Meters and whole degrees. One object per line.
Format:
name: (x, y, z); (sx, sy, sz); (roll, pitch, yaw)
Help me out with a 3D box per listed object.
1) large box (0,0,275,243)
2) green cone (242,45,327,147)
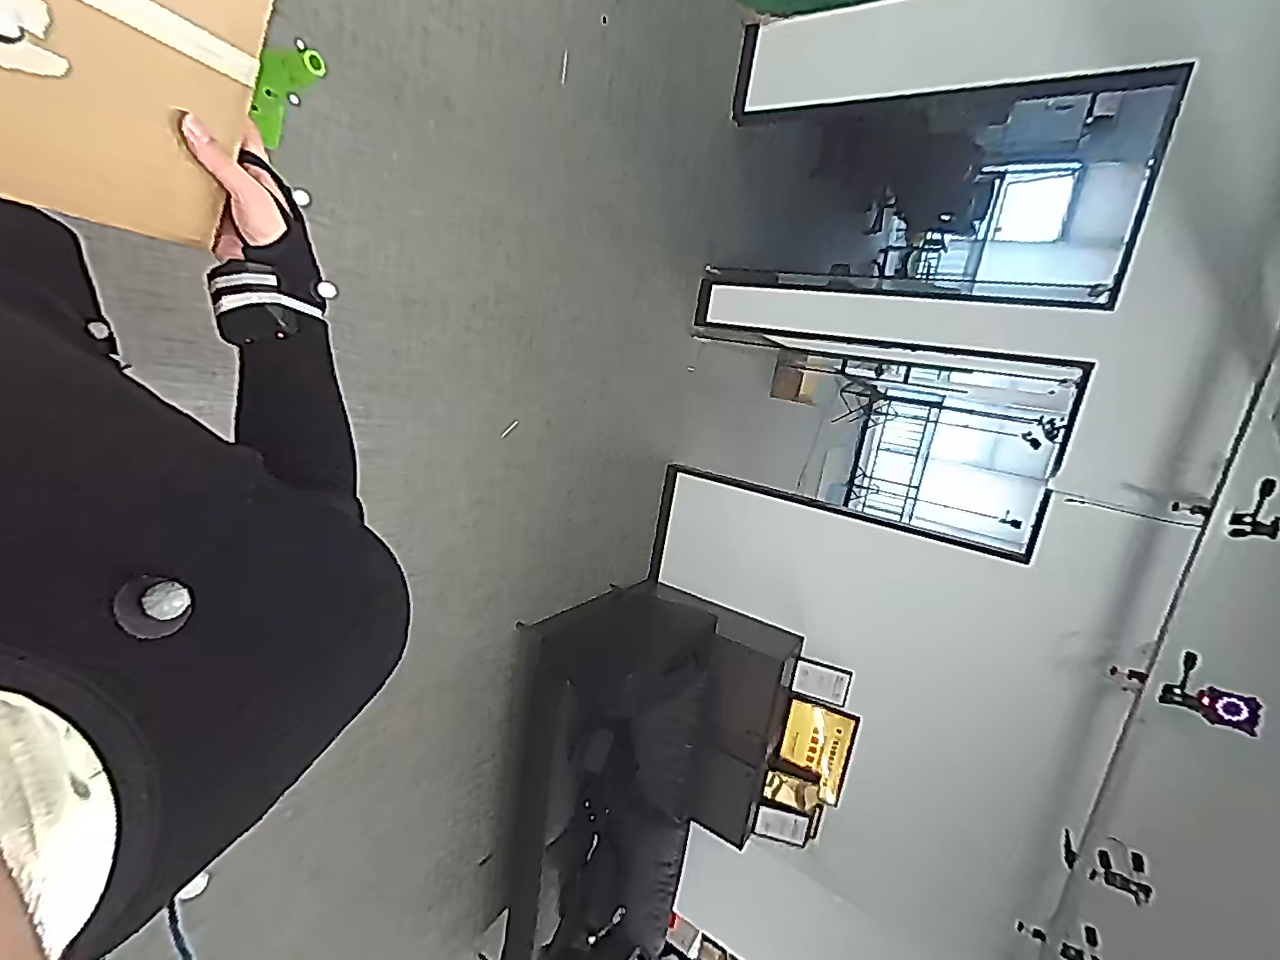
large box: (-0.524, -0.410, 0.329); (0.320, 0.320, 0.408); (-57, 158, 21)
green cone: (-0.808, -0.896, 1.196); (0.200, 0.368, 0.202); (2, 101, -60)
